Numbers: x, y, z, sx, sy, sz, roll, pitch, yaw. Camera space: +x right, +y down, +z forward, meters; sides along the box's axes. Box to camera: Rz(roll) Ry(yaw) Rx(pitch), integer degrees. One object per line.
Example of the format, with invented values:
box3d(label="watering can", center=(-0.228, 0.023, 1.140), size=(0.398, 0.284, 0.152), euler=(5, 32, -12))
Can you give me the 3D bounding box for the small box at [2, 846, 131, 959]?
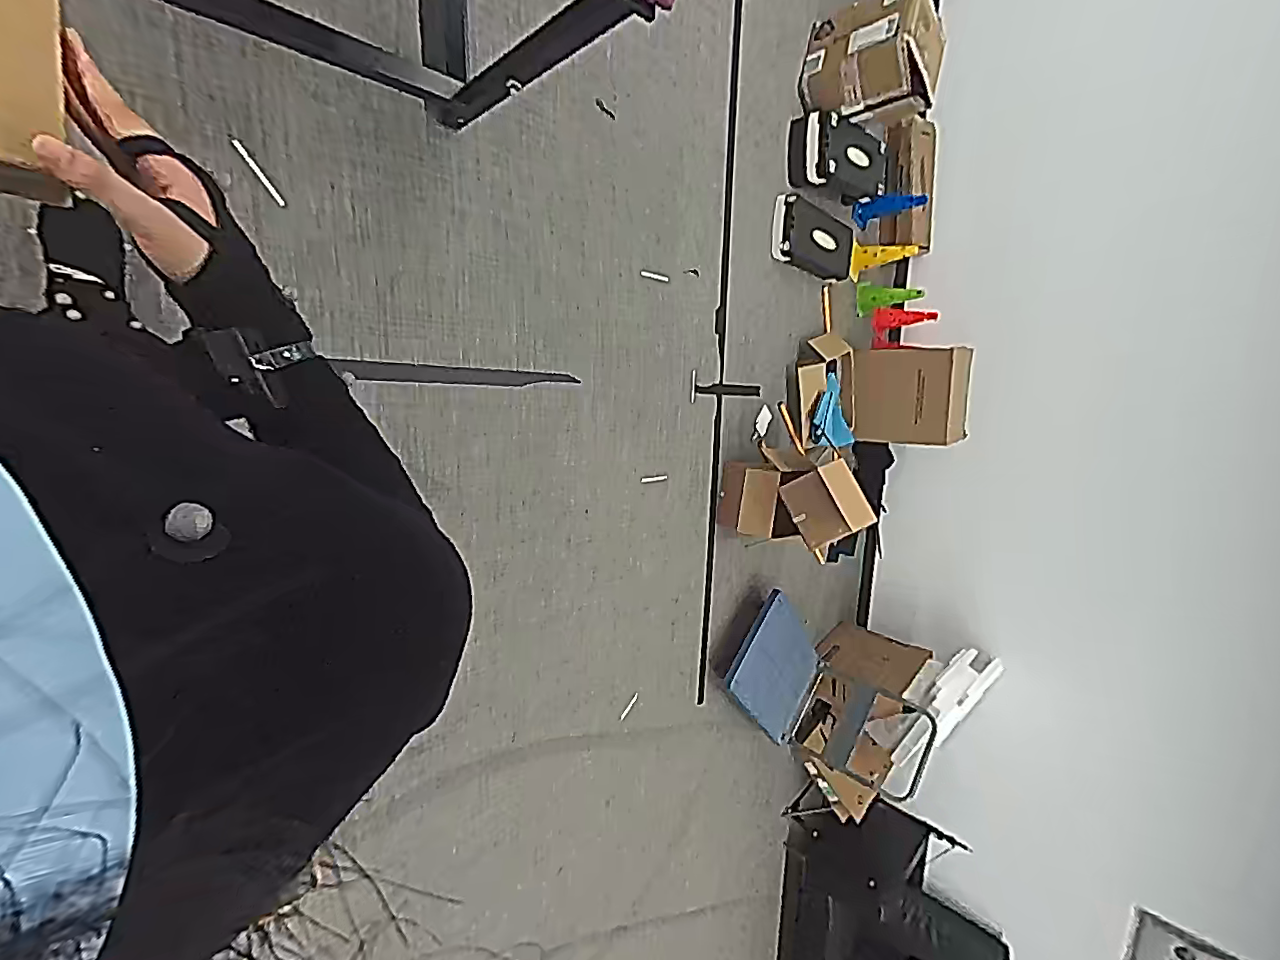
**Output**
box3d(label="small box", center=(-1.117, 0.879, 1.061), size=(0.168, 0.176, 0.179), euler=(-2, 100, -47))
